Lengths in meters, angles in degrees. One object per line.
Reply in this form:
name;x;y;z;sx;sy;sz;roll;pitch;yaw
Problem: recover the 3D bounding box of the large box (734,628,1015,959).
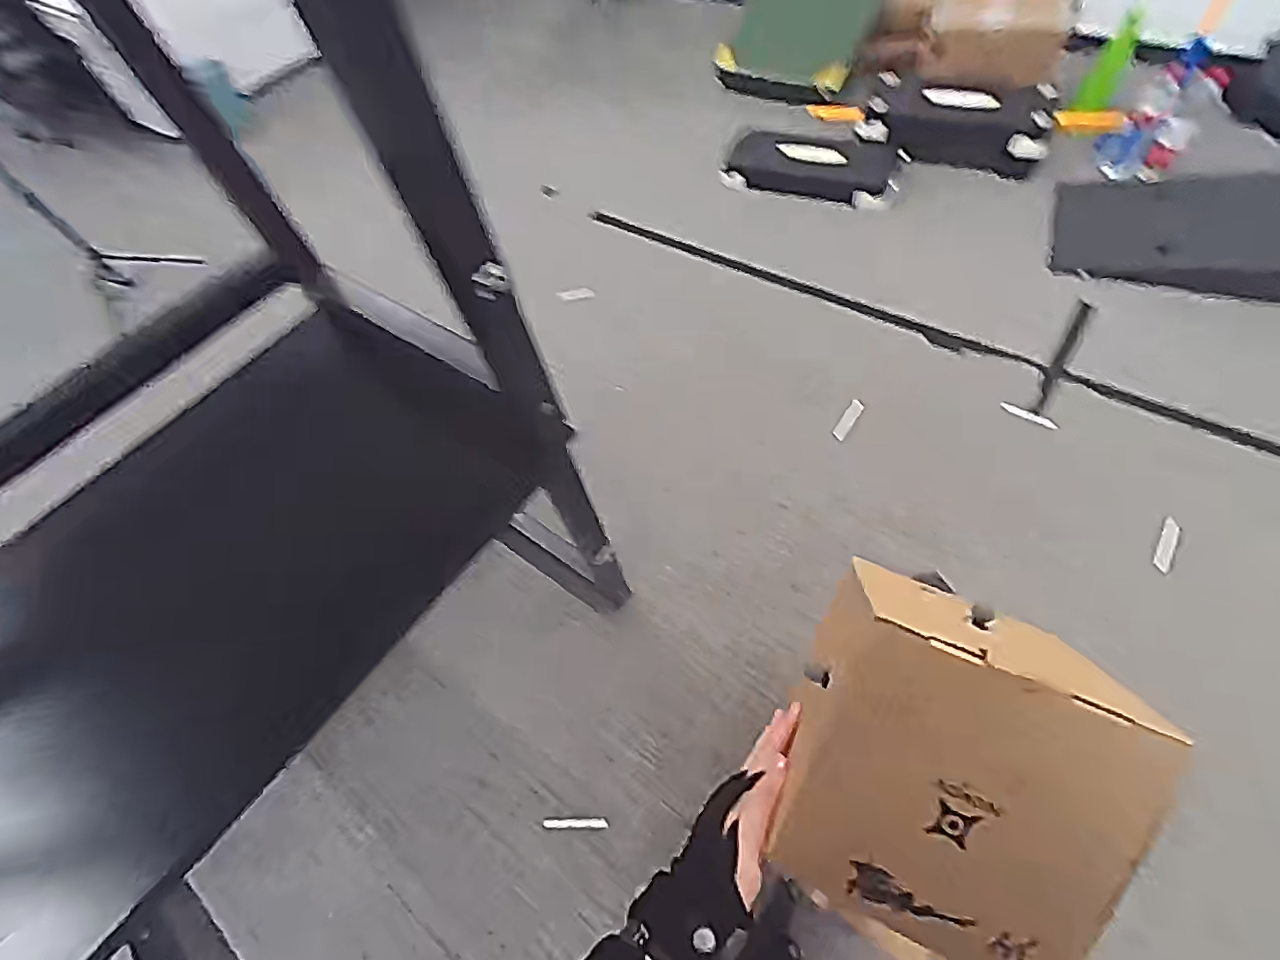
large box;0.410;0.569;1.018;0.320;0.320;0.408;31;67;22
